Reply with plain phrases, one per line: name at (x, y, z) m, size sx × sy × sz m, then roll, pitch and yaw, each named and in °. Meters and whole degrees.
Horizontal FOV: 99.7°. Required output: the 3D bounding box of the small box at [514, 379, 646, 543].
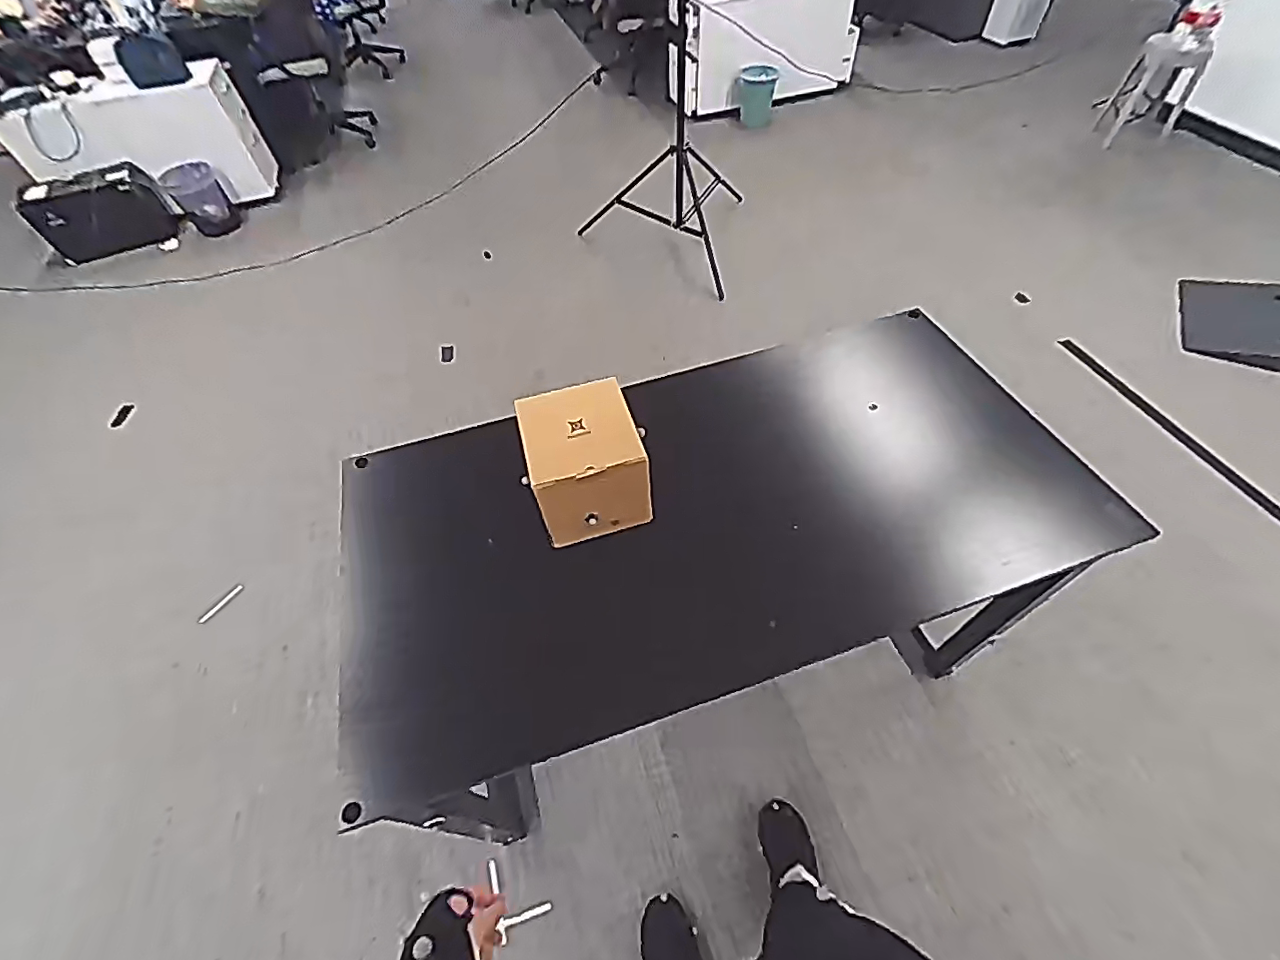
small box at (-0.092, -0.028, 0.861) m, size 0.168 × 0.176 × 0.179 m, roll -15°, pitch 54°, yaw -8°
